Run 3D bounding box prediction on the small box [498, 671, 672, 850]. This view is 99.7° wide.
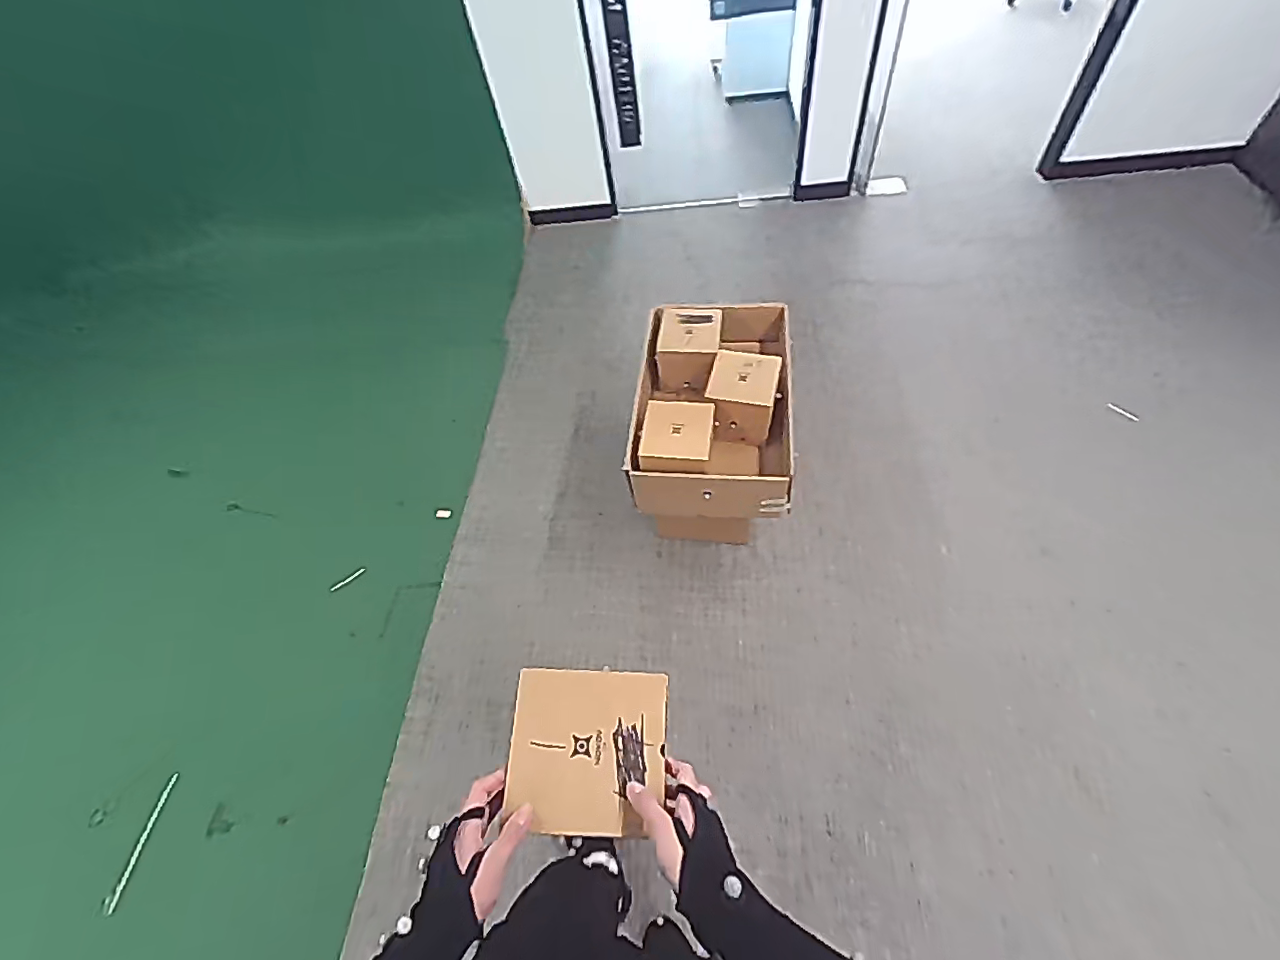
[{"bbox_3d":[-0.059,0.338,0.657,0.179,0.176,0.168,4,59,-1],"label":"small box"}]
